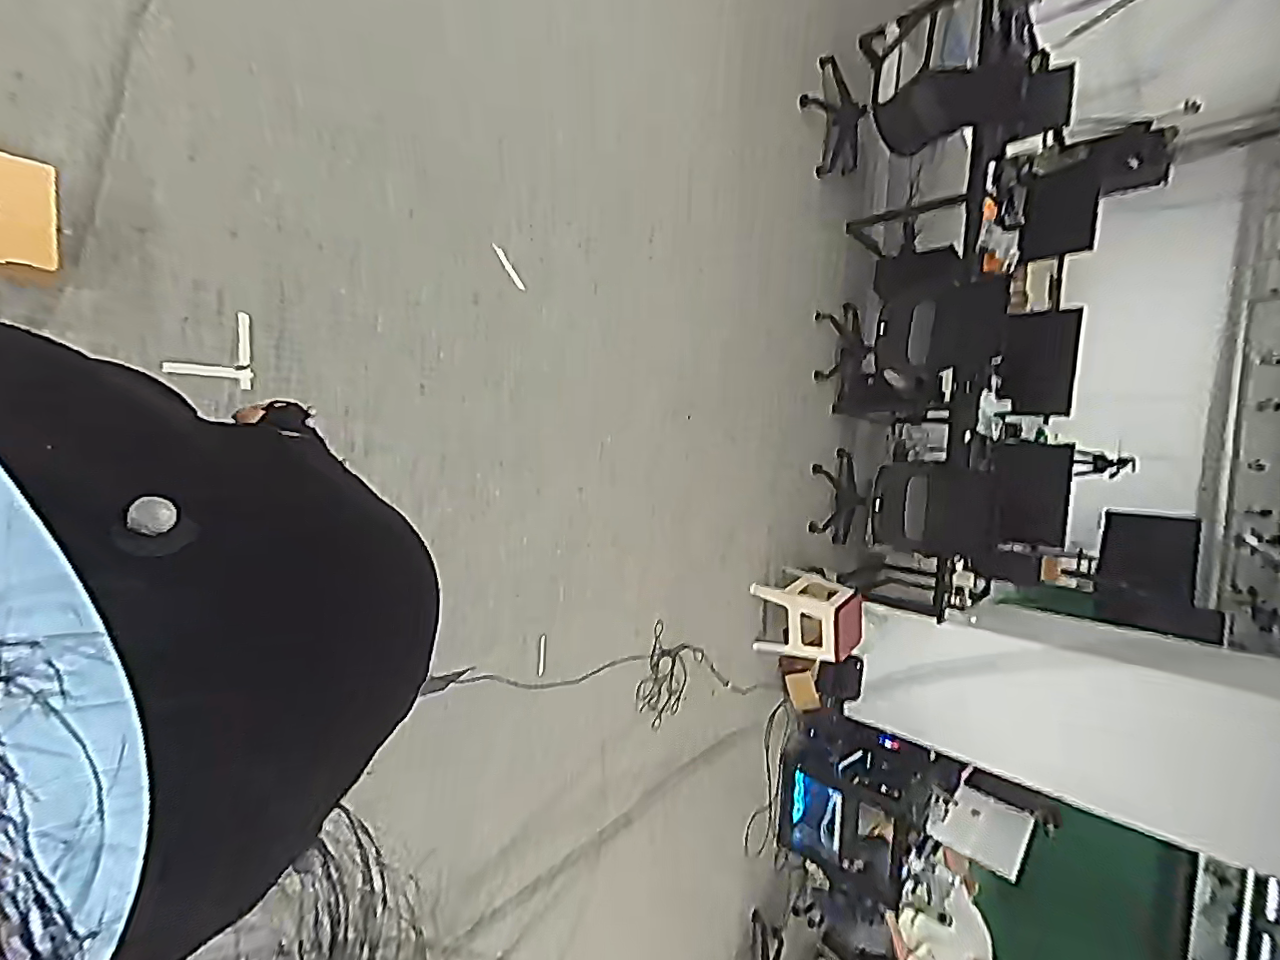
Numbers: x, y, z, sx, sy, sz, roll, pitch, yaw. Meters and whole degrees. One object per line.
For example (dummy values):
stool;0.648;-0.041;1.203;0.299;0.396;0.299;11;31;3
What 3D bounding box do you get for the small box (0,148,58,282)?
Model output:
small box;-1.103;-0.453;0.909;0.168;0.176;0.179;-2;96;-47
